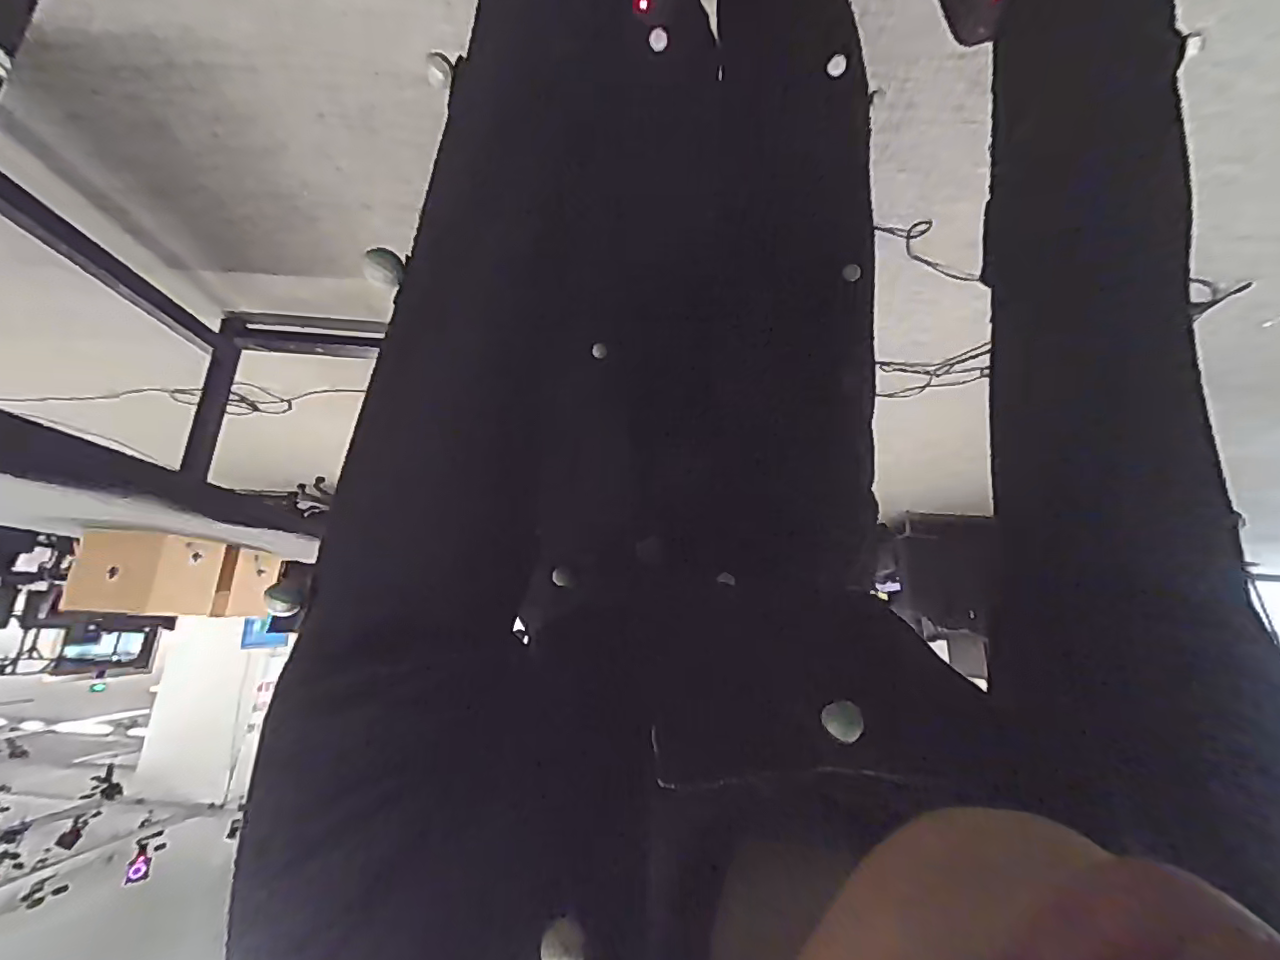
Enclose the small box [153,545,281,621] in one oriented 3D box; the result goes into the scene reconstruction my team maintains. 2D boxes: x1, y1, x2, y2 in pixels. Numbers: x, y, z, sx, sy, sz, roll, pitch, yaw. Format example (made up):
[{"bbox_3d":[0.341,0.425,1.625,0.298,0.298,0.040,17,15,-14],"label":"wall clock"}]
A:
[{"bbox_3d":[-1.044,0.259,1.352,0.179,0.176,0.168,3,164,0],"label":"small box"}]
